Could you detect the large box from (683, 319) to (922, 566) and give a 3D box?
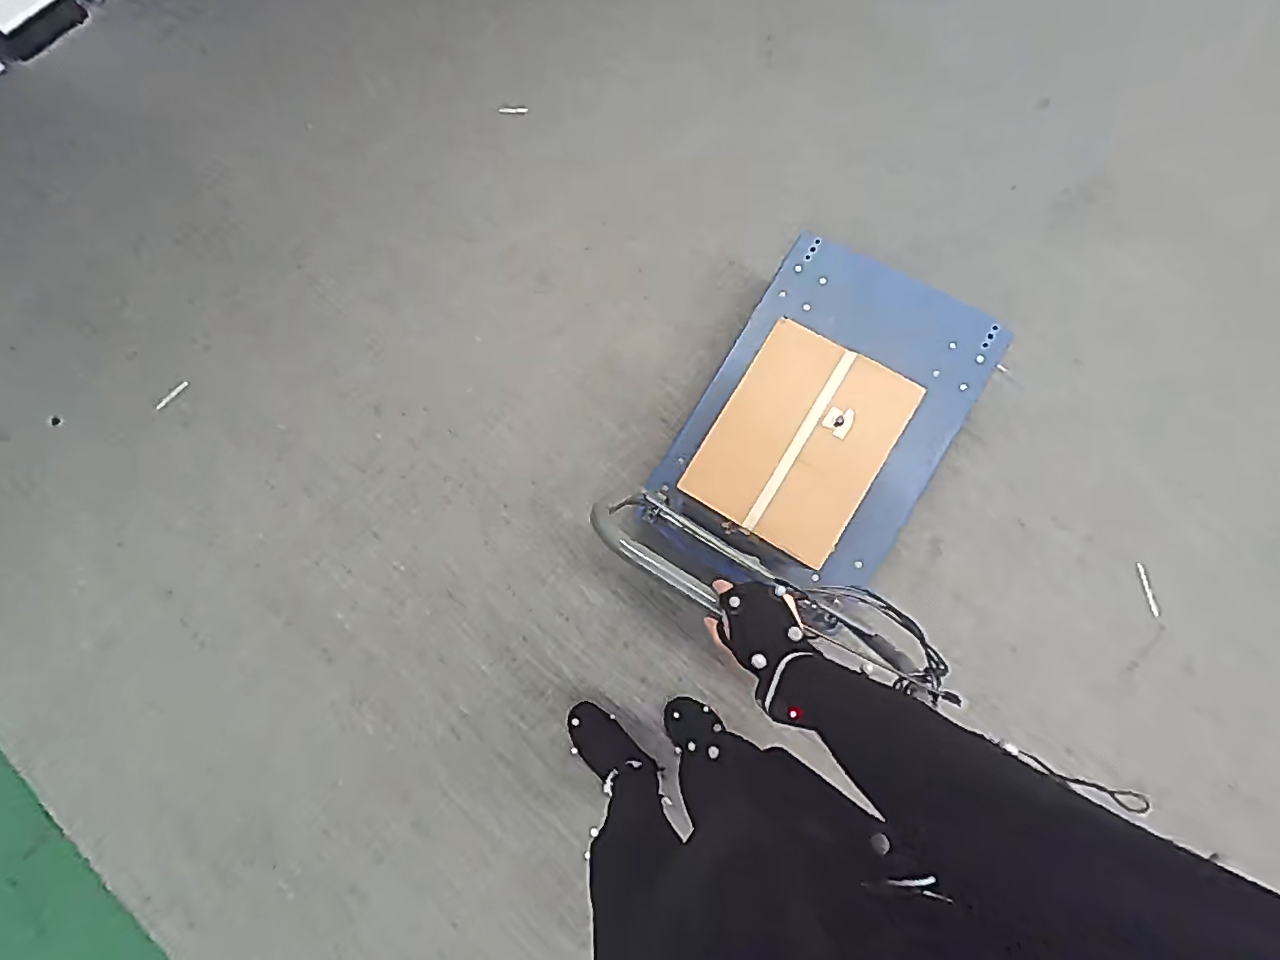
[{"bbox_3d":[0.329,-0.058,1.189,0.320,0.320,0.408,31,87,10],"label":"large box"}]
